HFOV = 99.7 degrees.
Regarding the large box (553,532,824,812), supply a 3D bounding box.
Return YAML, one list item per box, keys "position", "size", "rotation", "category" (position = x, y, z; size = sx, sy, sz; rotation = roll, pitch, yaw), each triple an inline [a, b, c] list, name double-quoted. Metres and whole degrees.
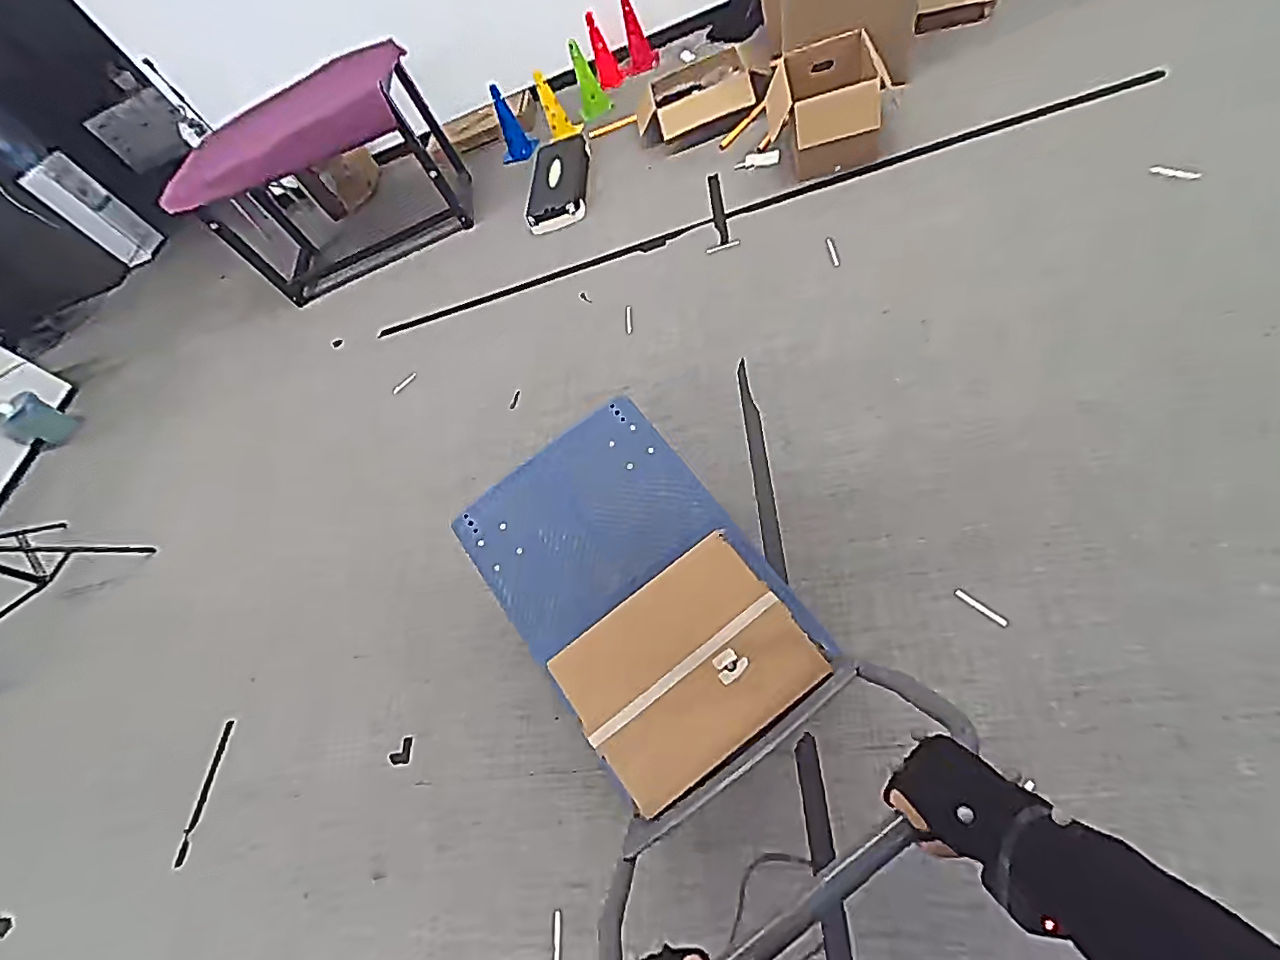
- position: [0.098, 0.375, 1.114]
  size: [0.408, 0.320, 0.320]
  rotation: [-38, 73, -5]
  category: "large box"
